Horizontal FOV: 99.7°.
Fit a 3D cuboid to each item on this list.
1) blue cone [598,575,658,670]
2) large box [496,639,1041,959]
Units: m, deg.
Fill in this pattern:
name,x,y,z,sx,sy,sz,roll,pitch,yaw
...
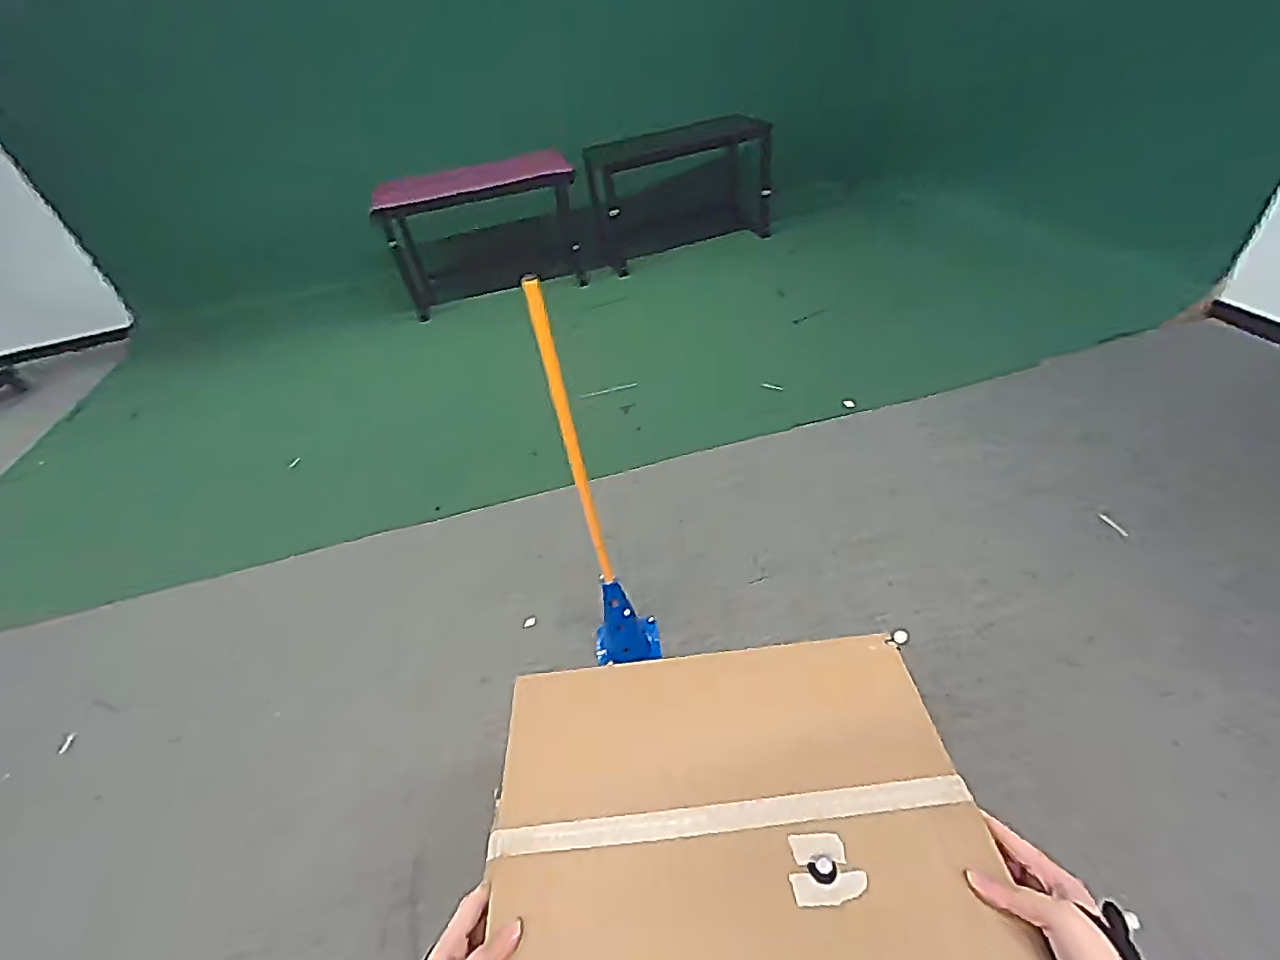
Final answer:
name,x,y,z,sx,sy,sz,roll,pitch,yaw
blue cone,-0.060,0.419,1.596,0.193,0.380,0.192,-8,40,2
large box,0.093,0.405,0.566,0.408,0.320,0.320,-6,41,1
